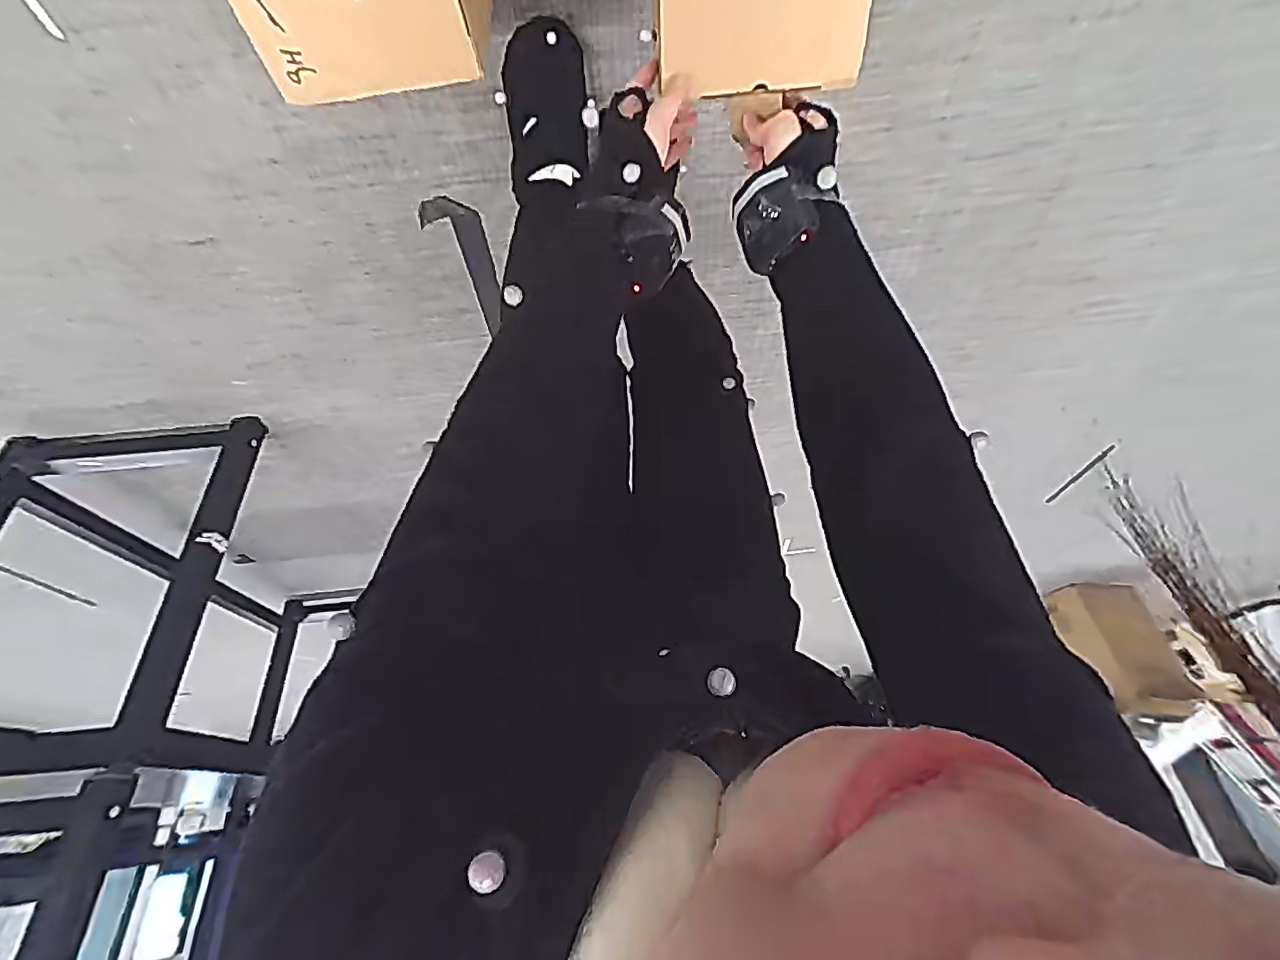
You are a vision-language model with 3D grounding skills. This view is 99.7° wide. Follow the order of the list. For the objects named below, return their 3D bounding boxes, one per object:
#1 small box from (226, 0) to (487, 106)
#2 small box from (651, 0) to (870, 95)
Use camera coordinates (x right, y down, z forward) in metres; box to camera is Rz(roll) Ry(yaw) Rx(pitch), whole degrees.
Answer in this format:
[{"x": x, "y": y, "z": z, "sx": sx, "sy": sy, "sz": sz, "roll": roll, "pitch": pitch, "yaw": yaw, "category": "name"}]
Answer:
[{"x": -0.233, "y": -0.441, "z": 0.435, "sx": 0.179, "sy": 0.176, "sz": 0.168, "roll": -8, "pitch": 148, "yaw": 0, "category": "small box"}, {"x": 0.094, "y": -0.445, "z": 0.454, "sx": 0.168, "sy": 0.176, "sz": 0.179, "roll": -3, "pitch": 131, "yaw": 1, "category": "small box"}]
